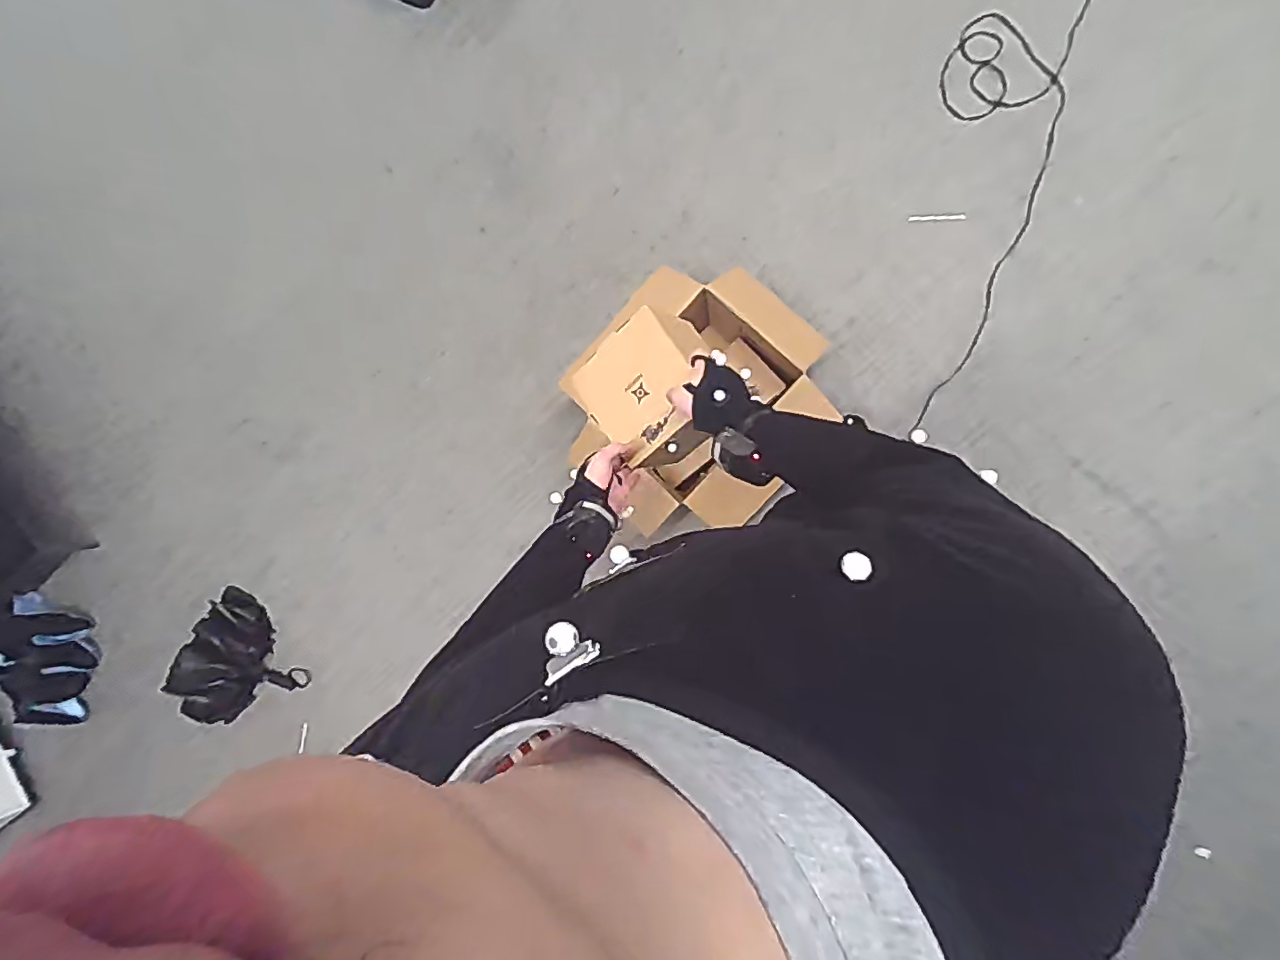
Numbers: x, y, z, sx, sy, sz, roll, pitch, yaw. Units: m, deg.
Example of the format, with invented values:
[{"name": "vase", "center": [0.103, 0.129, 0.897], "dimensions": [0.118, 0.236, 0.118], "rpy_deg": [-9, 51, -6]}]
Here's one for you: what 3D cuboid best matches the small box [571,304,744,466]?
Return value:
[{"name": "small box", "center": [0.032, -0.137, 0.840], "dimensions": [0.168, 0.176, 0.179], "rpy_deg": [-39, 77, 25]}]
